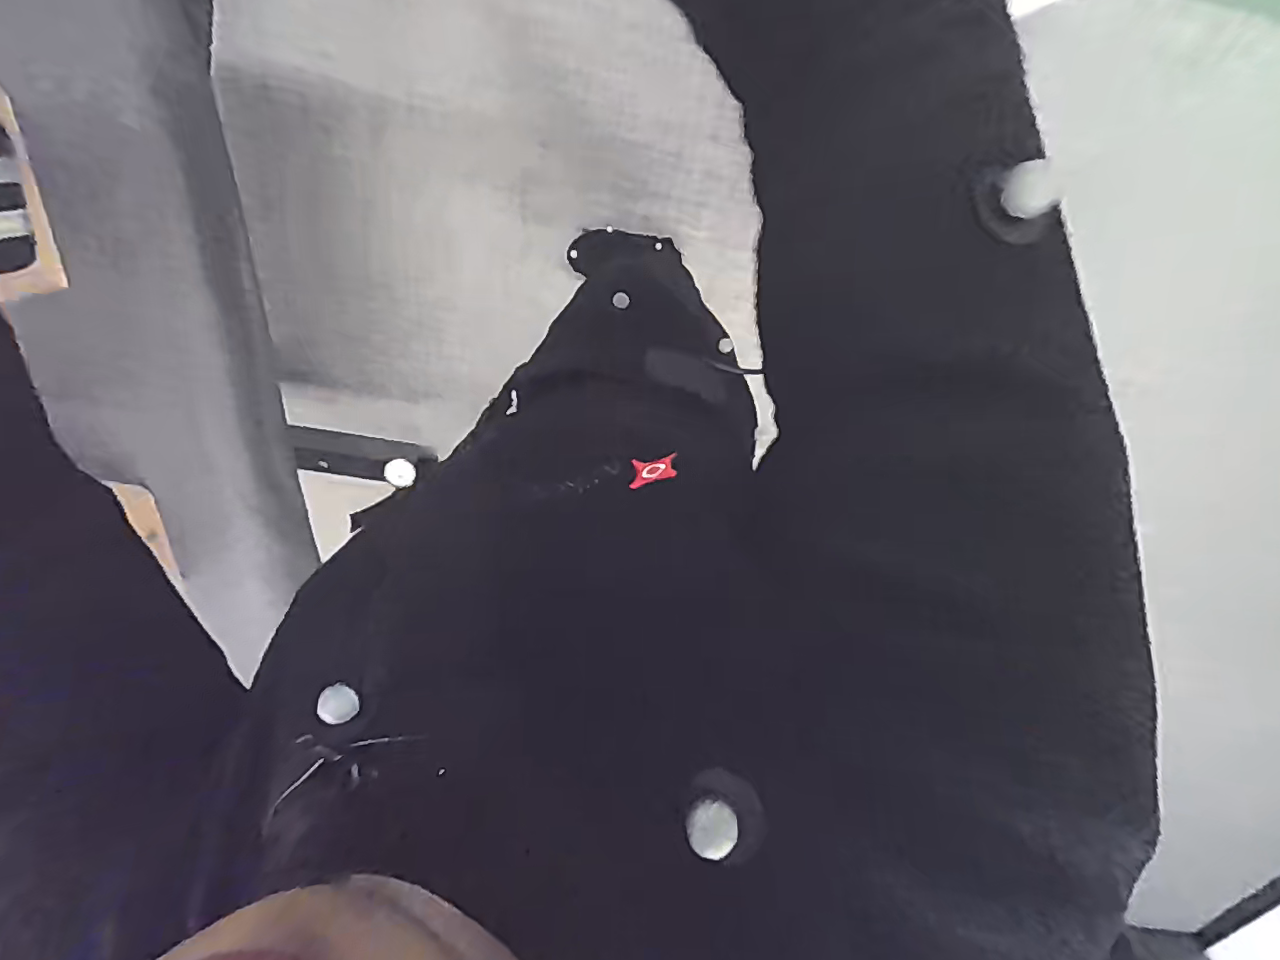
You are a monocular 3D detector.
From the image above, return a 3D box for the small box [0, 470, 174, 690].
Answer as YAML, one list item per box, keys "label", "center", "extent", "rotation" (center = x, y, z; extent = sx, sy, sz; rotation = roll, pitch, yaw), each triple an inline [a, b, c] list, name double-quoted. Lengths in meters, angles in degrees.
- label: "small box"
  center: [-0.692, 0.104, 0.609]
  extent: [0.179, 0.176, 0.168]
  rotation: [8, 120, -4]

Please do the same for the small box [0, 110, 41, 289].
- label: "small box"
  center: [-0.631, -0.235, 0.409]
  extent: [0.179, 0.176, 0.168]
  rotation: [11, 120, -5]
